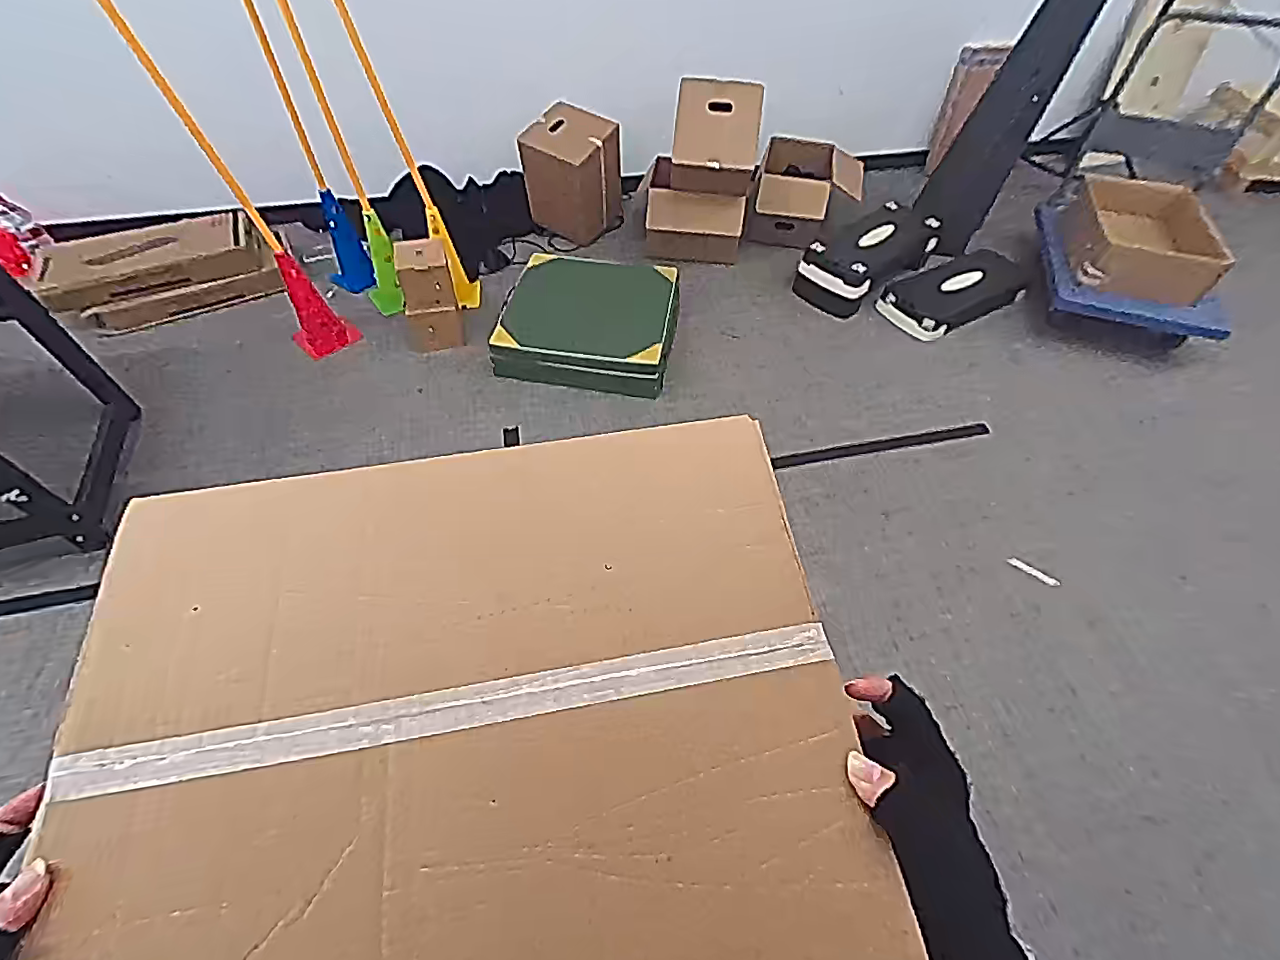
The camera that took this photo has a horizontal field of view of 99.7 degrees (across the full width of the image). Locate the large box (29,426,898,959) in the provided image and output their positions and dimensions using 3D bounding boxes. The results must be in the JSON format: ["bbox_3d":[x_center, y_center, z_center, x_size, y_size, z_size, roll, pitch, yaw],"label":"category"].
[{"bbox_3d":[-0.097,0.191,0.434,0.408,0.320,0.320,-8,63,-5],"label":"large box"}]
